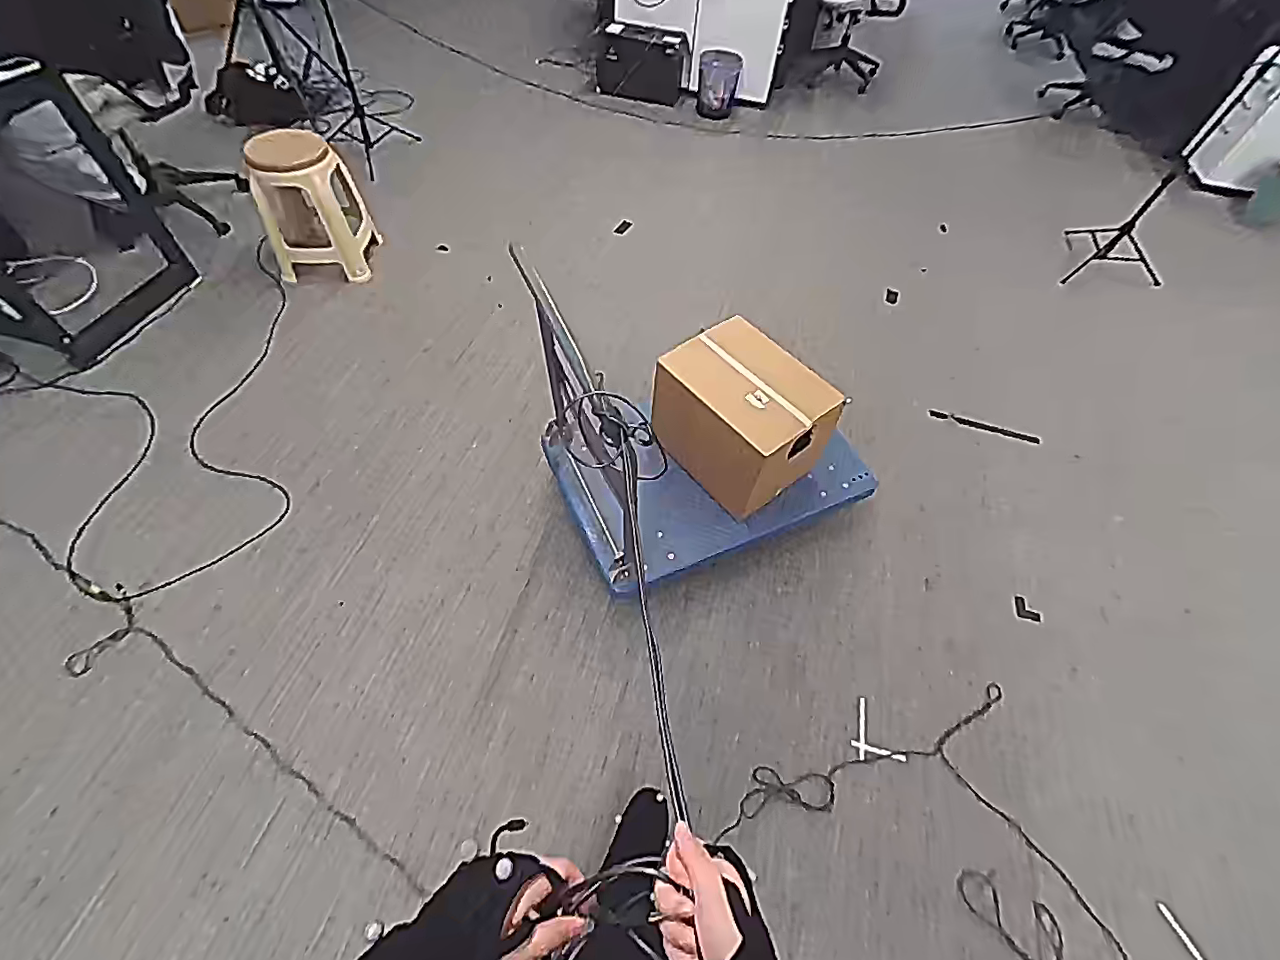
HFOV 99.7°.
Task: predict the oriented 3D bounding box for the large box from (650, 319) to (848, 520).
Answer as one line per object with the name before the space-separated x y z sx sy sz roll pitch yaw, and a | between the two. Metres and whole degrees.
large box | 0.278 -0.170 1.511 0.320 0.320 0.408 -33 65 -22
